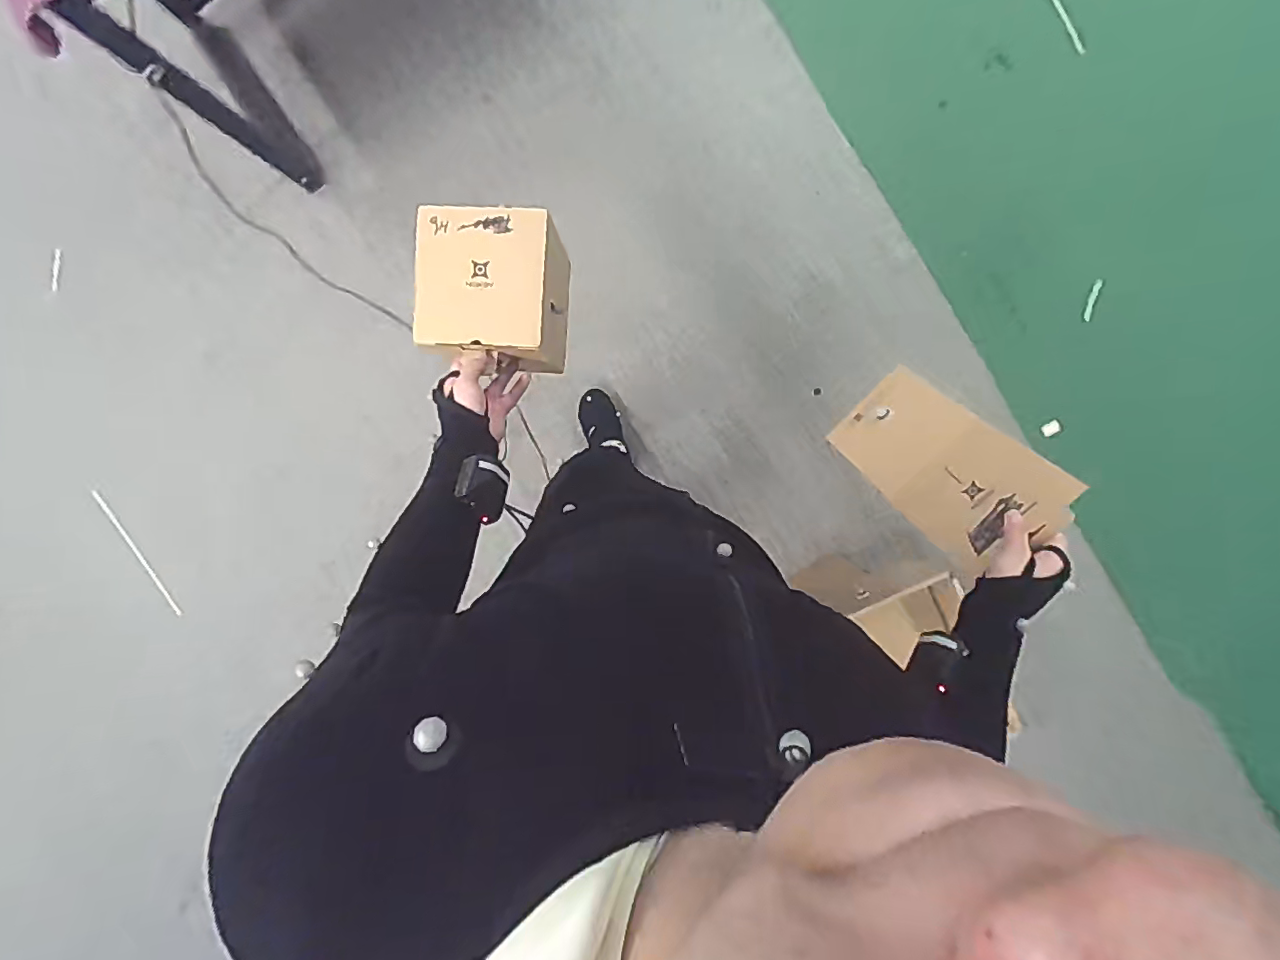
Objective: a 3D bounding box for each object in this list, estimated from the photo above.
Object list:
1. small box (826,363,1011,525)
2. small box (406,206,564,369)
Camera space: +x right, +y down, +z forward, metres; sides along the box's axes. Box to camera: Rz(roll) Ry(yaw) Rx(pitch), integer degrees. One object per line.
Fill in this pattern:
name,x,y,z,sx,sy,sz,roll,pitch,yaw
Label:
small box,0.441,-0.060,0.872,0.179,0.176,0.168,25,114,-38
small box,-0.205,-0.255,0.753,0.168,0.176,0.179,3,92,4
